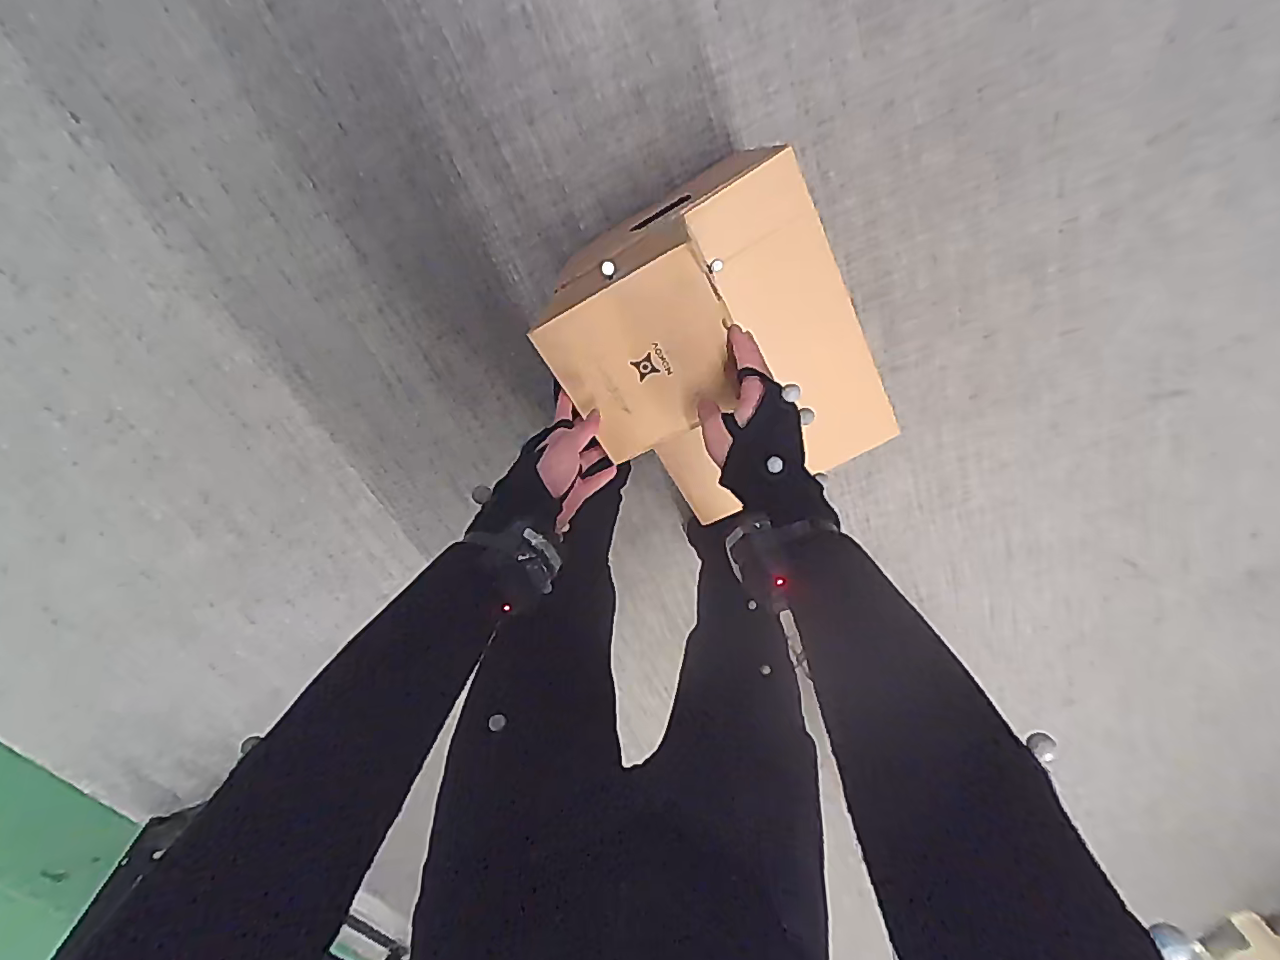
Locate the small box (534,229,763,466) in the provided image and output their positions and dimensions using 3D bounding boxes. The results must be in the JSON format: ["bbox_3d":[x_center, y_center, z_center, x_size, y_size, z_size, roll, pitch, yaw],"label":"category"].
[{"bbox_3d":[0.013,-0.151,0.593,0.179,0.176,0.168,-25,117,18],"label":"small box"}]
